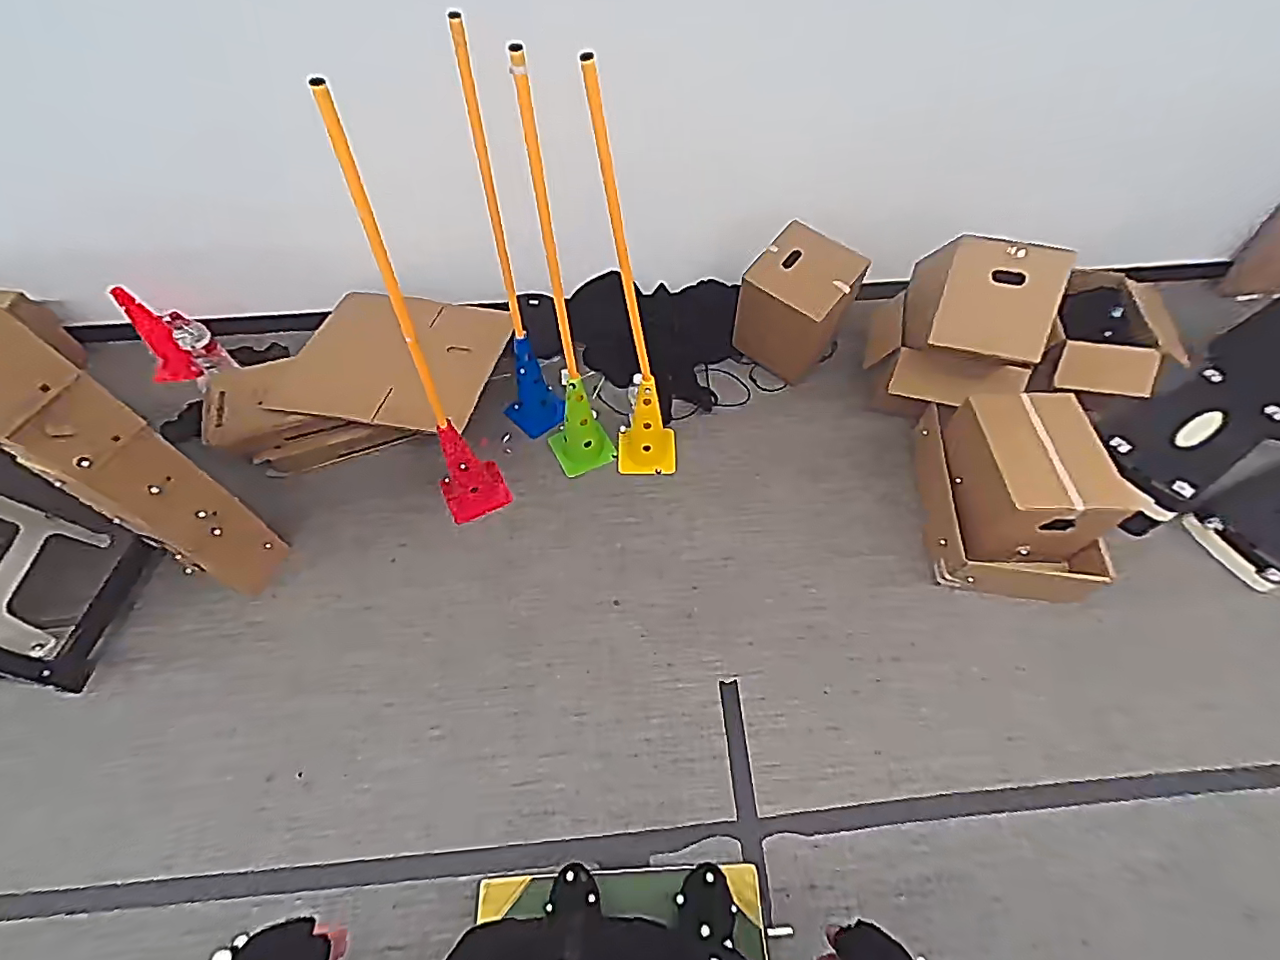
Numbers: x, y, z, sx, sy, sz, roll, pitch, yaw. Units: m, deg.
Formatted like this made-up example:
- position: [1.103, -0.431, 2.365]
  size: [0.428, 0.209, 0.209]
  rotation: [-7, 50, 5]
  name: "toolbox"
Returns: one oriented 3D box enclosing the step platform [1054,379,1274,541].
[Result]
- position: [1.755, -0.082, 1.812]
  size: [0.684, 0.204, 0.286]
  rotation: [-28, 60, -17]
  name: "step platform"
